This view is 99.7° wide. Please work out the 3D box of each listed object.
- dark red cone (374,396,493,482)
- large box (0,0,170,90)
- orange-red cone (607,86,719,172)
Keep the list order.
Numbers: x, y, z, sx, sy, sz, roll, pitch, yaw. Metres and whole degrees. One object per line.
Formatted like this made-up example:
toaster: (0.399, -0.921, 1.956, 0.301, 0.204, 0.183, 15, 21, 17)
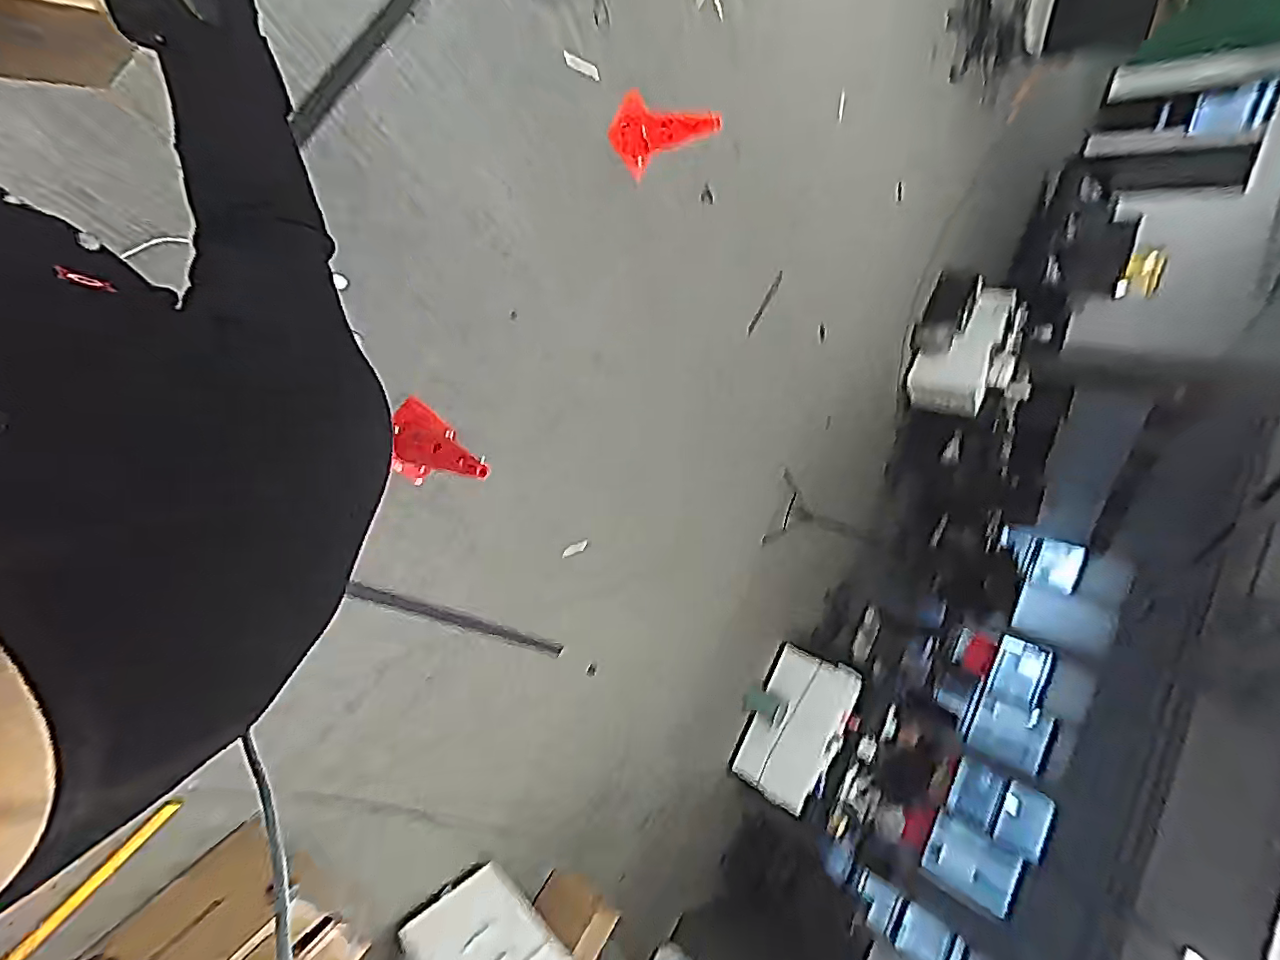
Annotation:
dark red cone: (-0.520, -0.072, 1.461, 0.202, 0.394, 0.201, -58, 140, -15)
large box: (-0.560, -0.422, 0.260, 0.408, 0.320, 0.320, -25, 126, -42)
orange-red cone: (0.102, -1.171, 1.772, 0.198, 0.360, 0.199, 38, 74, -52)
